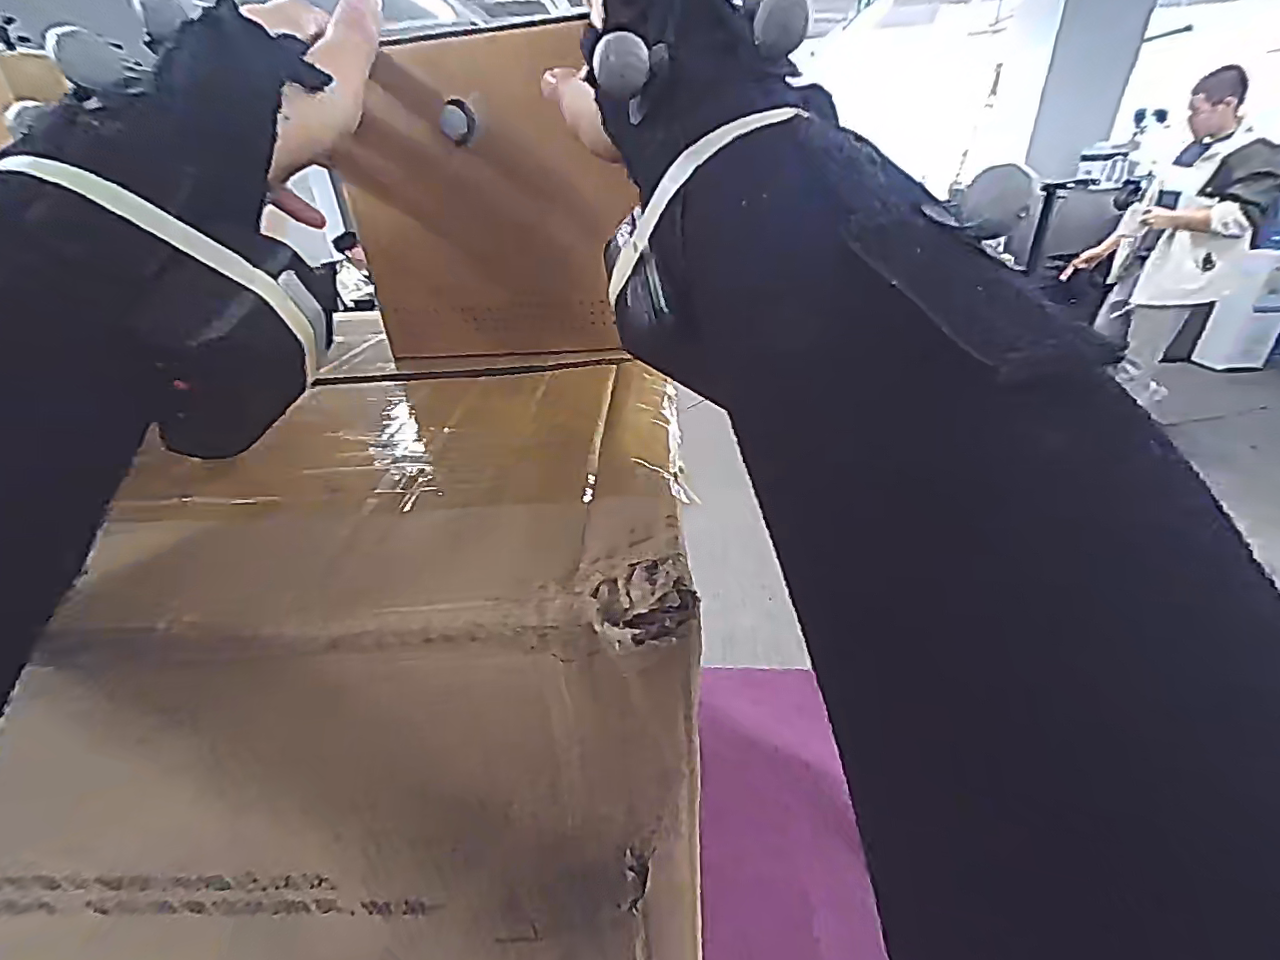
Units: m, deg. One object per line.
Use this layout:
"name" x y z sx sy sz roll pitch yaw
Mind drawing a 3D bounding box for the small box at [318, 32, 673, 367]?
"small box" -0.070 -0.185 0.380 0.179 0.176 0.168 0 30 8
